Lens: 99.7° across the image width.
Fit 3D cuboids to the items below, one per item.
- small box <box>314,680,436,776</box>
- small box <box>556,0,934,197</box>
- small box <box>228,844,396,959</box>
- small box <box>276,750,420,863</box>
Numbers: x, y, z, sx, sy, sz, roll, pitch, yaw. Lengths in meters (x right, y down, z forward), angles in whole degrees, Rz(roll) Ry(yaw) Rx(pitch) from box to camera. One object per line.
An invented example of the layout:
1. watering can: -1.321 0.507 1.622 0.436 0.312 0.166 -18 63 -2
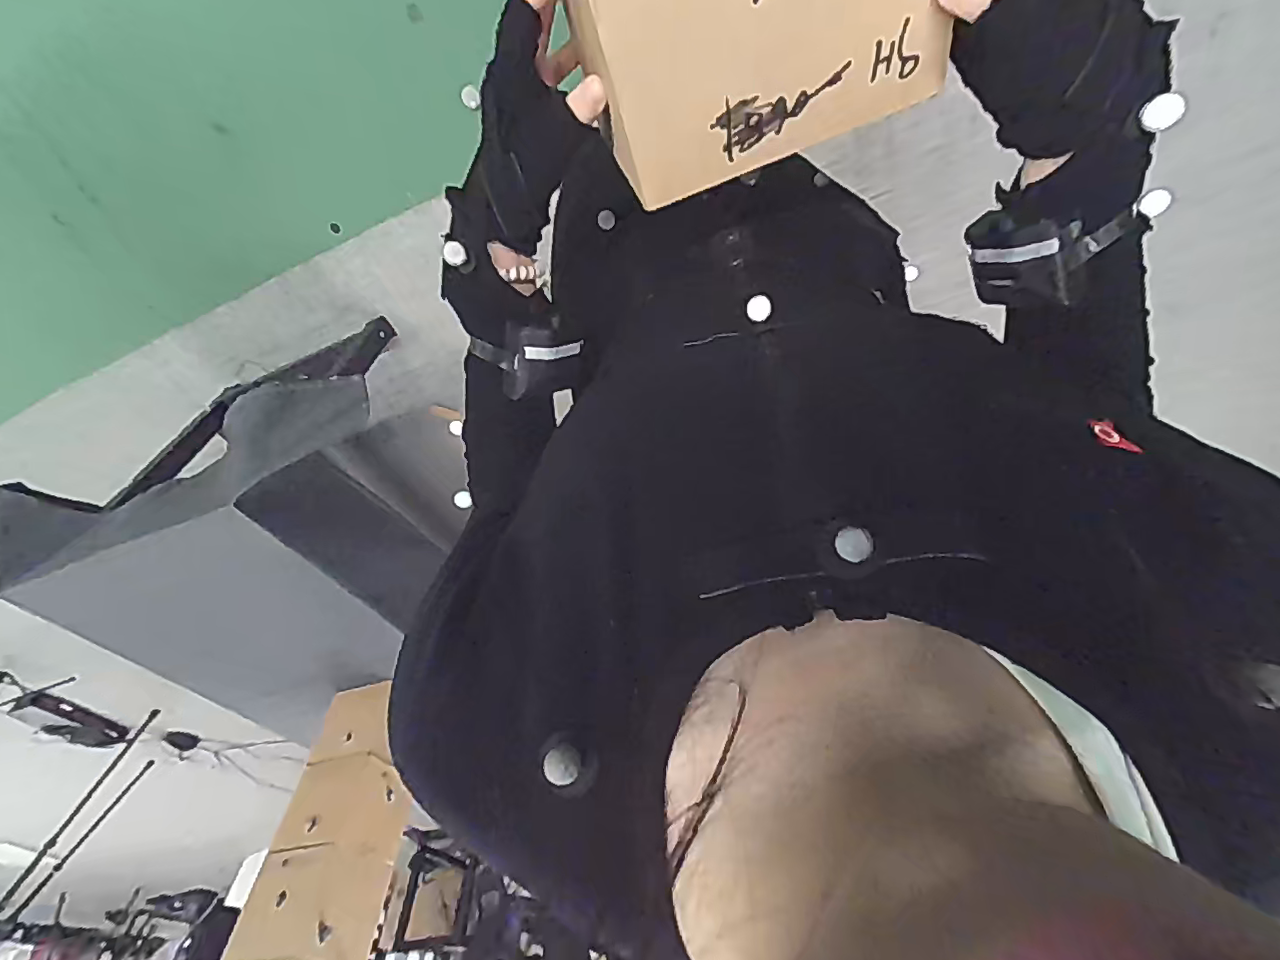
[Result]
1. small box: -0.602 0.588 1.261 0.179 0.176 0.168 -17 129 16
2. small box: 0.034 -0.290 0.287 0.168 0.176 0.179 -19 136 5
3. small box: -0.599 0.801 1.013 0.168 0.176 0.179 -17 129 14
4. small box: -0.602 0.694 1.139 0.179 0.176 0.168 -18 129 15
